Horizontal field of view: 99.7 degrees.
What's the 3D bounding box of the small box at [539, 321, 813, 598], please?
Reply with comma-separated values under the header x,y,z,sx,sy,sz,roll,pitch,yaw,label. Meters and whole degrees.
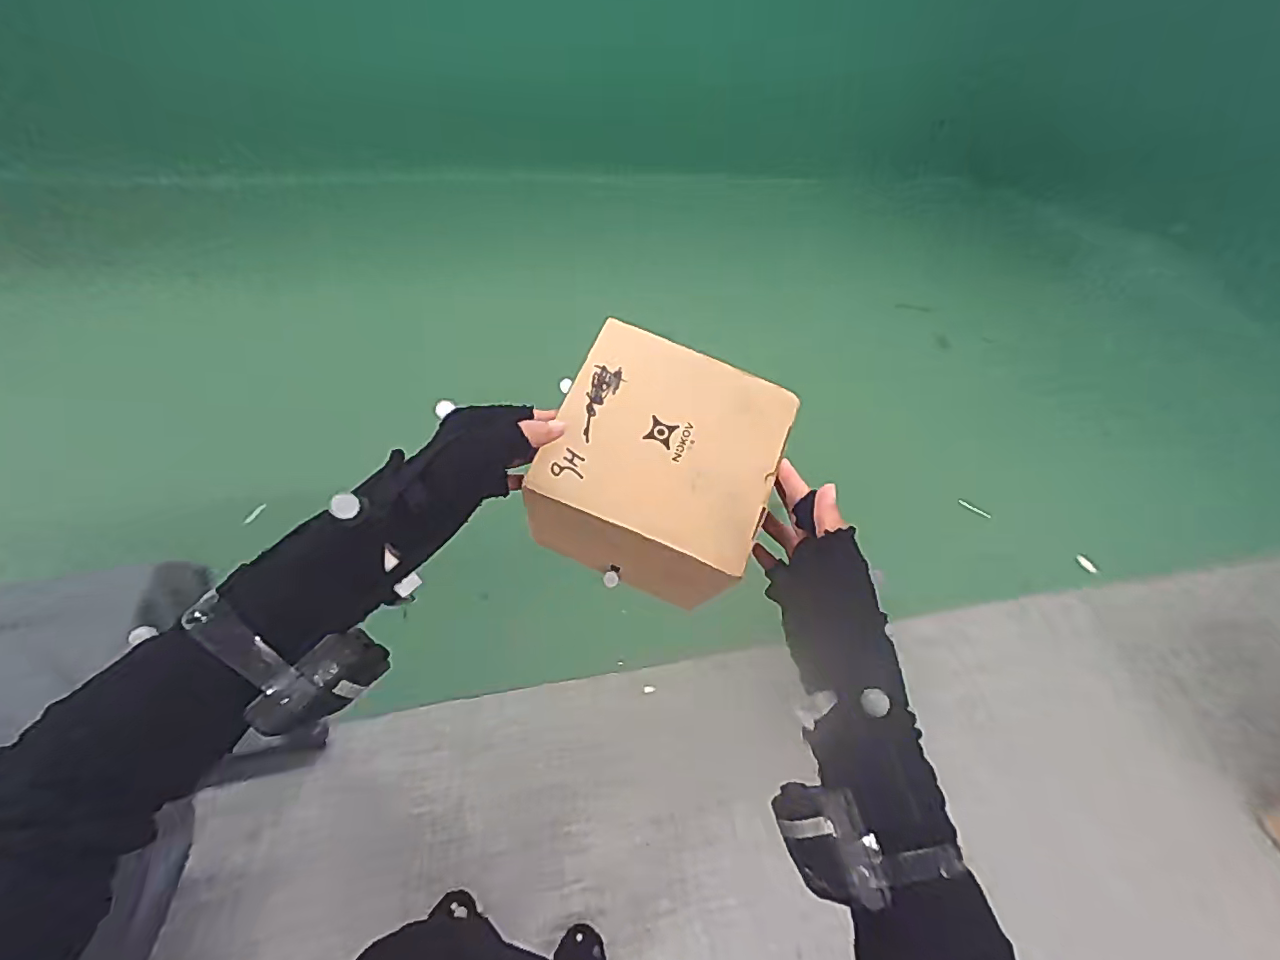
x,y,z,sx,sy,sz,roll,pitch,yaw,label
0.023,-0.004,0.495,0.179,0.176,0.168,25,67,0,small box
